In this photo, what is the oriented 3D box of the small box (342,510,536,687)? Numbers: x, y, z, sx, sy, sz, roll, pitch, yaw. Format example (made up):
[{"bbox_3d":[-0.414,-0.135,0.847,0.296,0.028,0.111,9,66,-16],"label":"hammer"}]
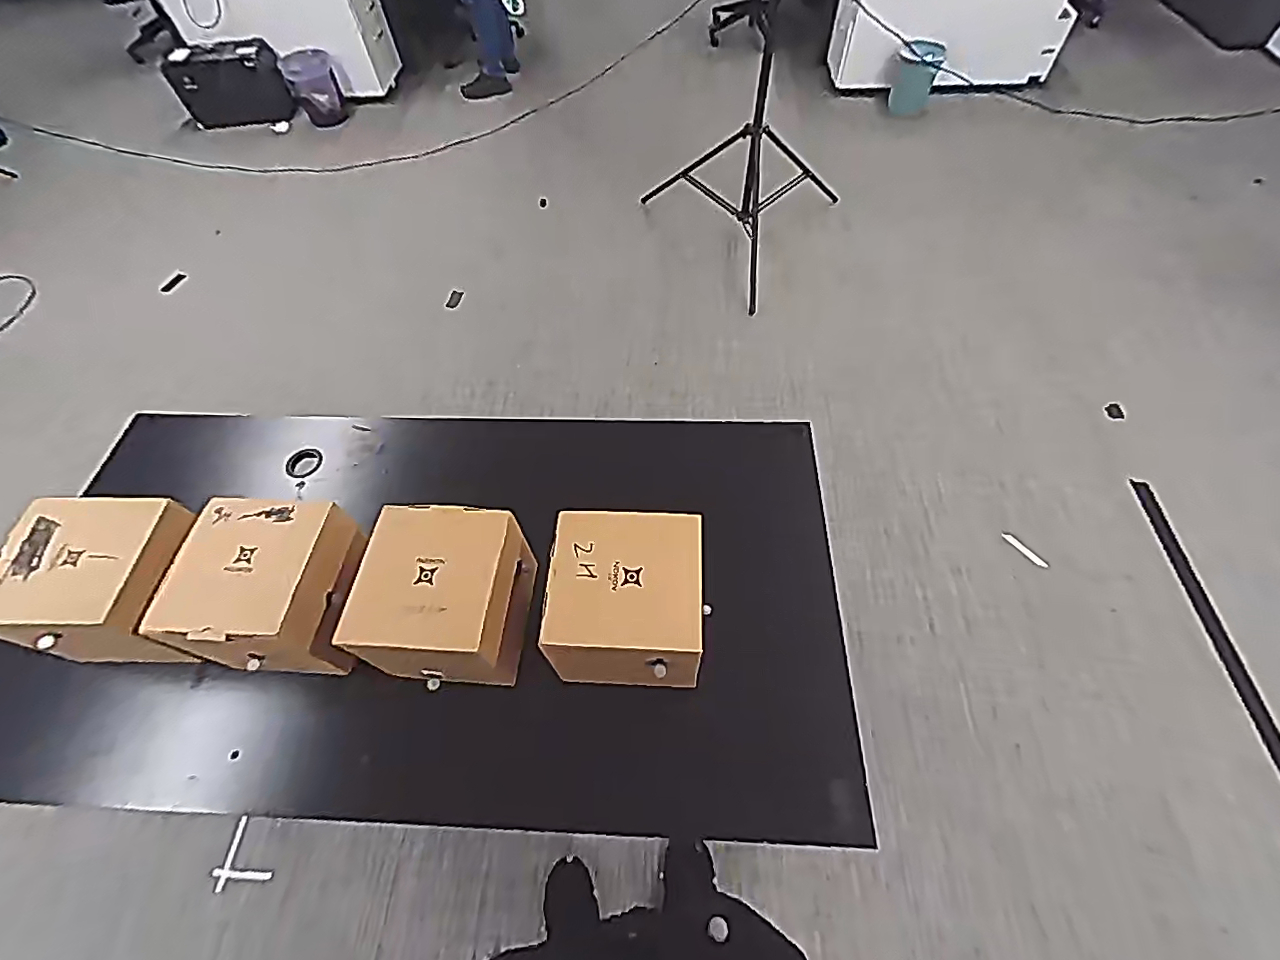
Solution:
[{"bbox_3d":[-0.239,0.156,0.701,0.168,0.176,0.179,1,58,5],"label":"small box"}]

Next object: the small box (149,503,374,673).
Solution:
[{"bbox_3d":[-0.465,0.148,0.714,0.168,0.176,0.179,2,58,4],"label":"small box"}]

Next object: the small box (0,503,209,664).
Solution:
[{"bbox_3d":[-0.680,0.143,0.725,0.179,0.176,0.168,0,57,1],"label":"small box"}]
